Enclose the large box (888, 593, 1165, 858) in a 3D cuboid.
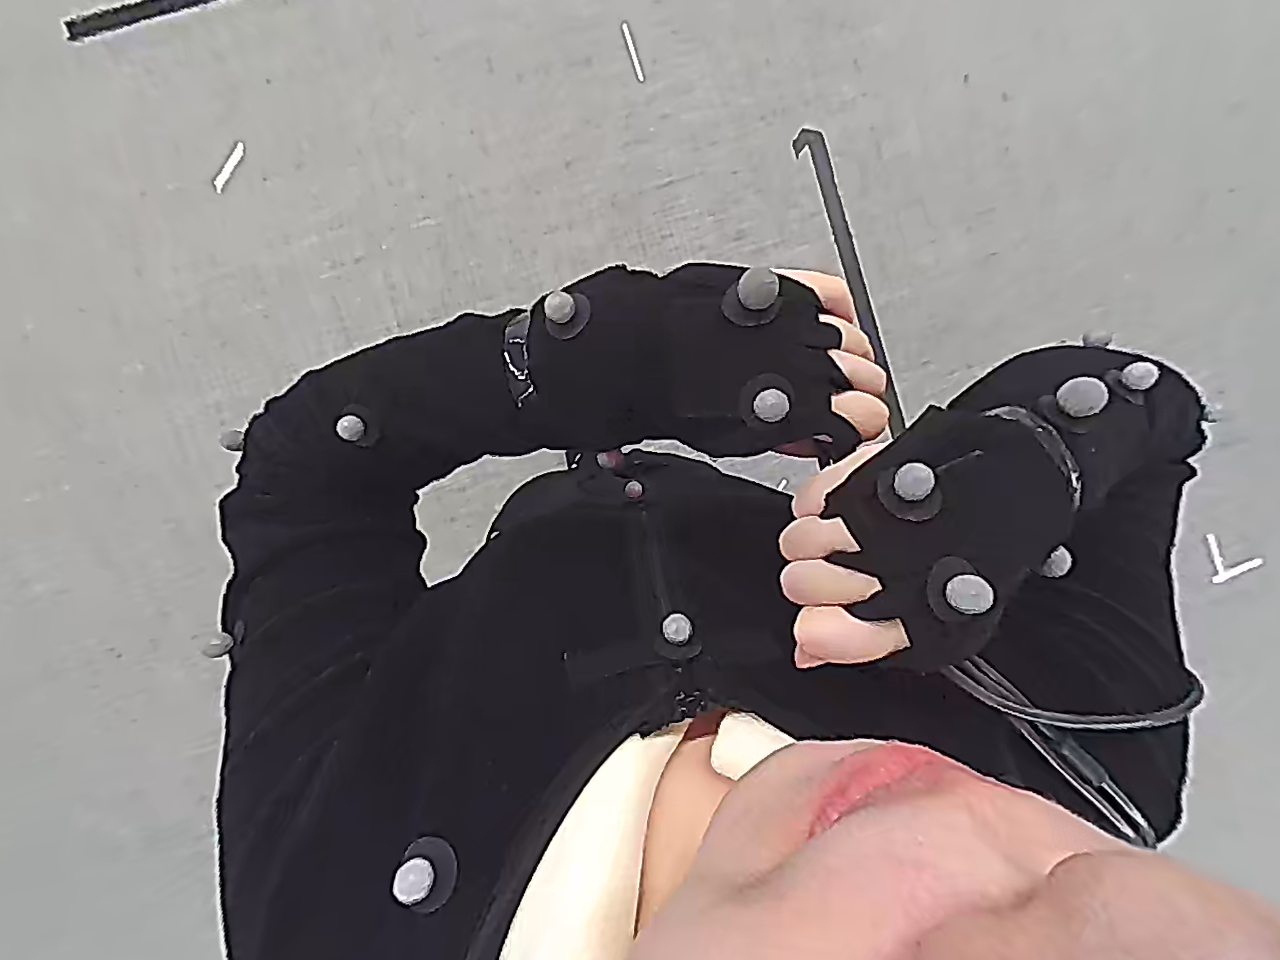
[{"bbox_3d":[0.875,0.541,1.271,0.320,0.320,0.408,-30,95,-3],"label":"large box"}]
